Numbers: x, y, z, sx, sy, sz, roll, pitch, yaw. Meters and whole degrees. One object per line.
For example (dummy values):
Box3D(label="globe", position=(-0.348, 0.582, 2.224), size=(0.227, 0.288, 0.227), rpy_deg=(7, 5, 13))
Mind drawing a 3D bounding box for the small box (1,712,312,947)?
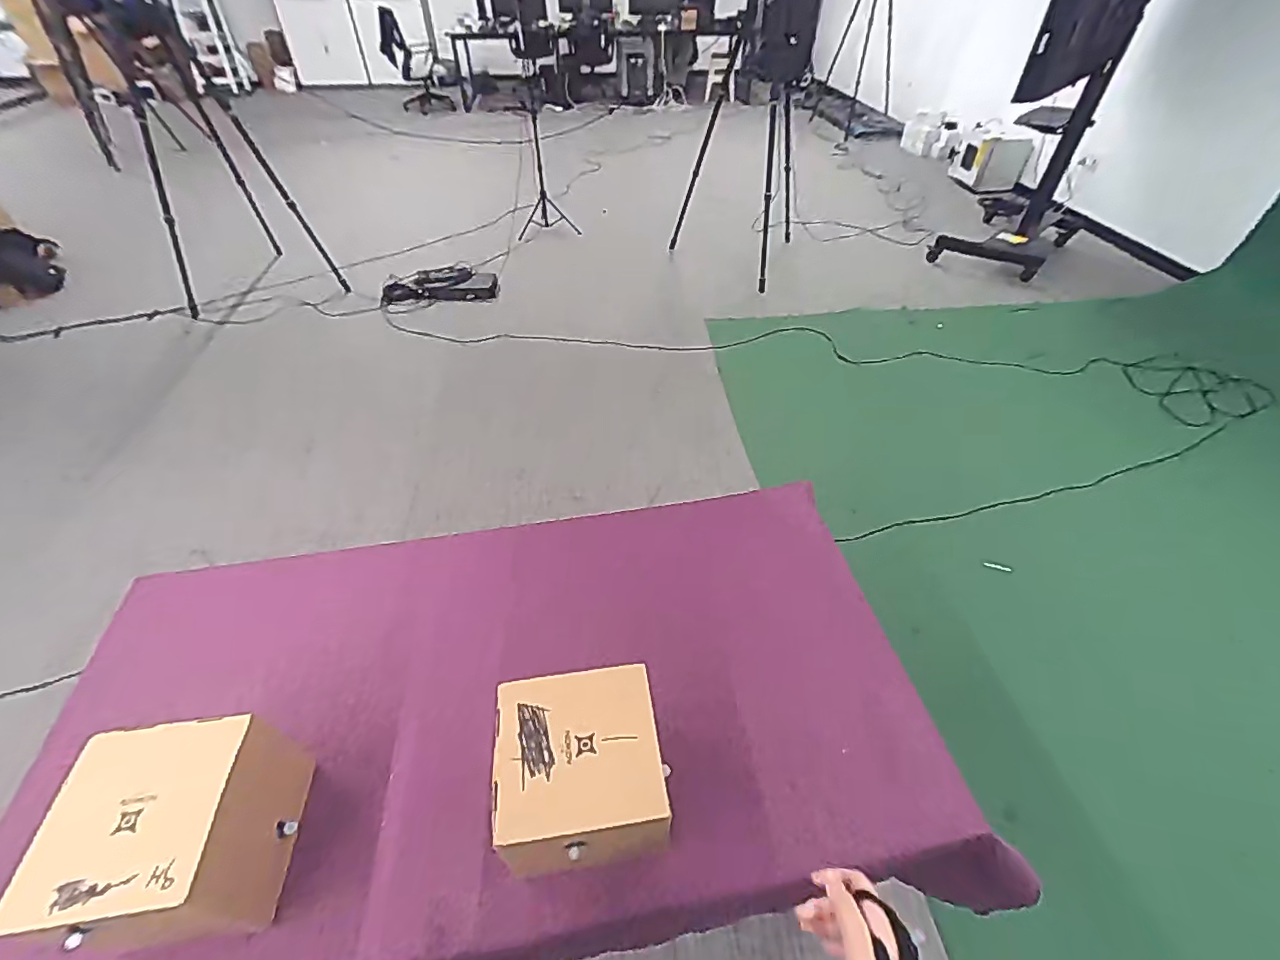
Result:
Box3D(label="small box", position=(-0.499, 0.386, 0.601), size=(0.168, 0.176, 0.179), rpy_deg=(-5, 45, -5))

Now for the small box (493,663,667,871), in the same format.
Box3D(label="small box", position=(-0.066, 0.342, 0.642), size=(0.179, 0.176, 0.168), rpy_deg=(-6, 46, -6))
